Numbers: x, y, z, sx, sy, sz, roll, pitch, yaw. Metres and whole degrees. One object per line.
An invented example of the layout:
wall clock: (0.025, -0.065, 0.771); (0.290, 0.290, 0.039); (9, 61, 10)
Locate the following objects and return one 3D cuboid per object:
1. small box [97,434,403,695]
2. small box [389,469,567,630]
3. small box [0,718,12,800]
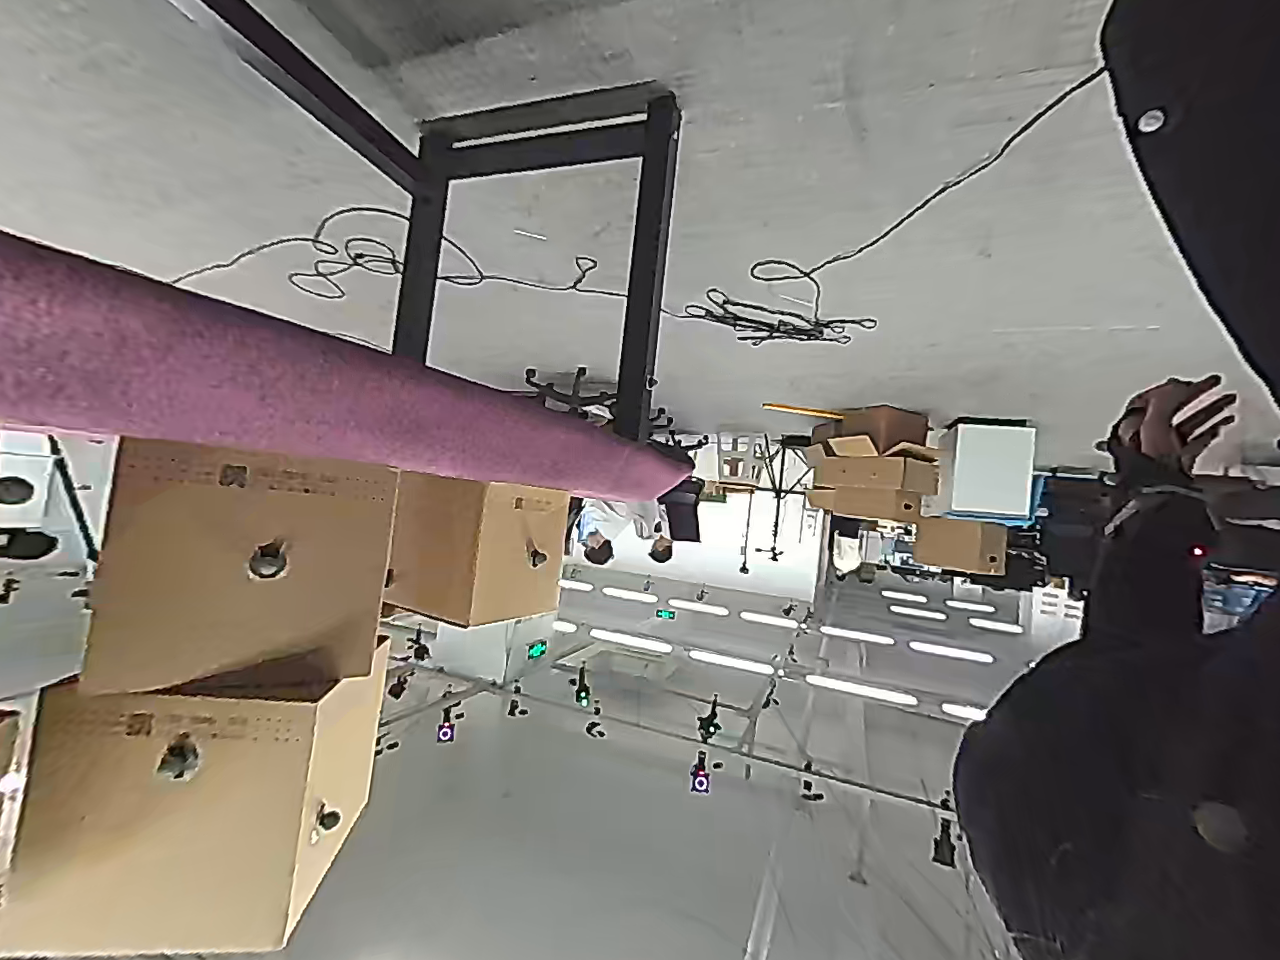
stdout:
small box: (-0.303, 0.057, 0.447); (0.168, 0.176, 0.179); (9, 177, -32)
small box: (-0.207, 0.078, 0.693); (0.179, 0.176, 0.168); (7, 178, 27)
small box: (-0.410, 0.196, 0.199); (0.168, 0.176, 0.179); (9, 178, -14)
